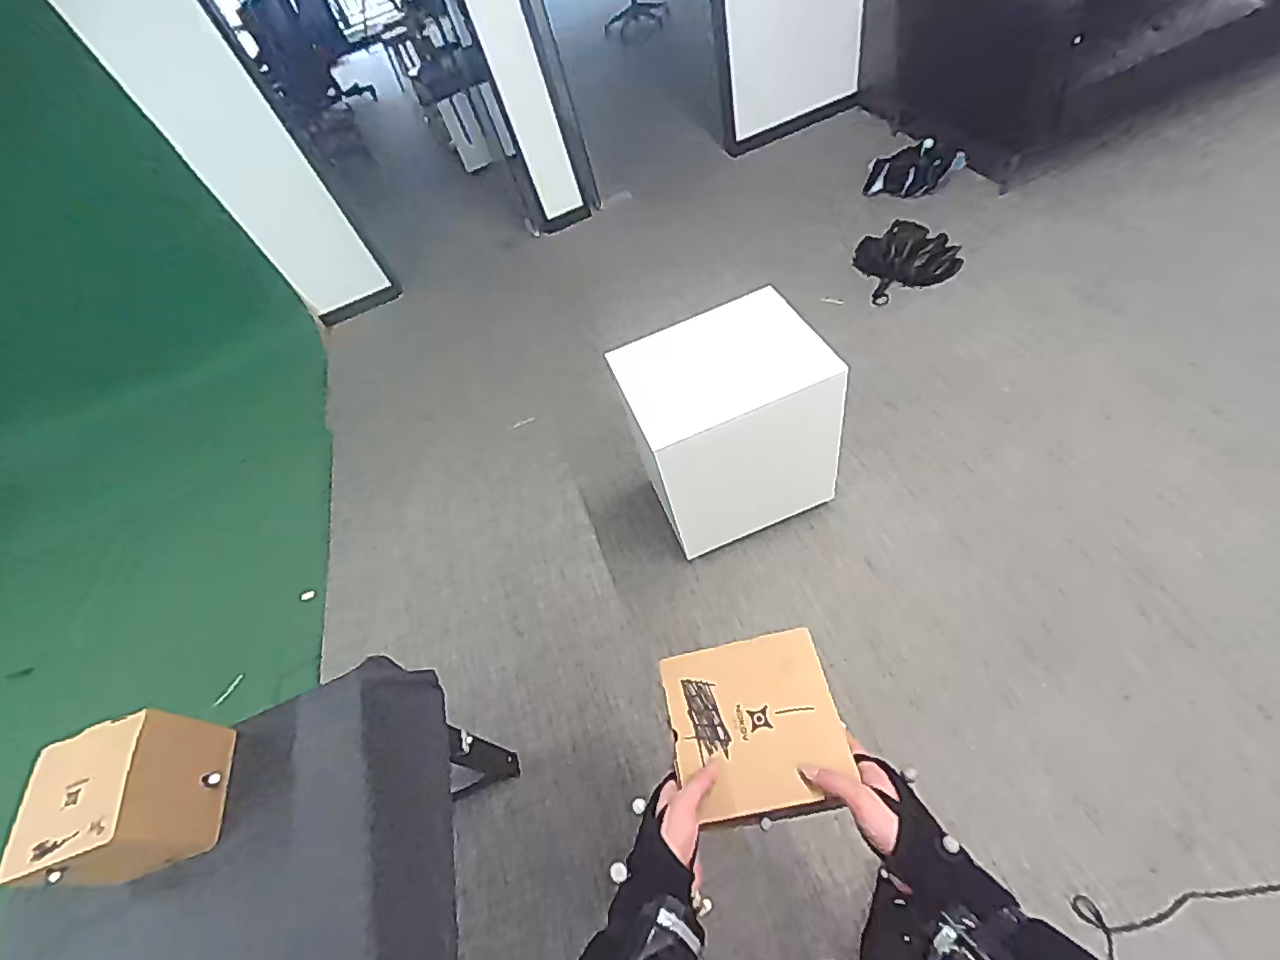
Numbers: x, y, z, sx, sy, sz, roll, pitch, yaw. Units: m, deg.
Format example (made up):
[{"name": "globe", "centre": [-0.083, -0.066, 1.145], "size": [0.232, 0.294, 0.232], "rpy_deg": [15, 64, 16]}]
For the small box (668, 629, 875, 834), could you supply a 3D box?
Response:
[{"name": "small box", "centre": [0.142, 0.292, 0.617], "size": [0.179, 0.176, 0.168], "rpy_deg": [-14, 54, 4]}]

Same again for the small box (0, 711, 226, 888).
[{"name": "small box", "centre": [-0.758, 0.471, 0.793], "size": [0.168, 0.176, 0.179], "rpy_deg": [-20, 52, -1]}]
